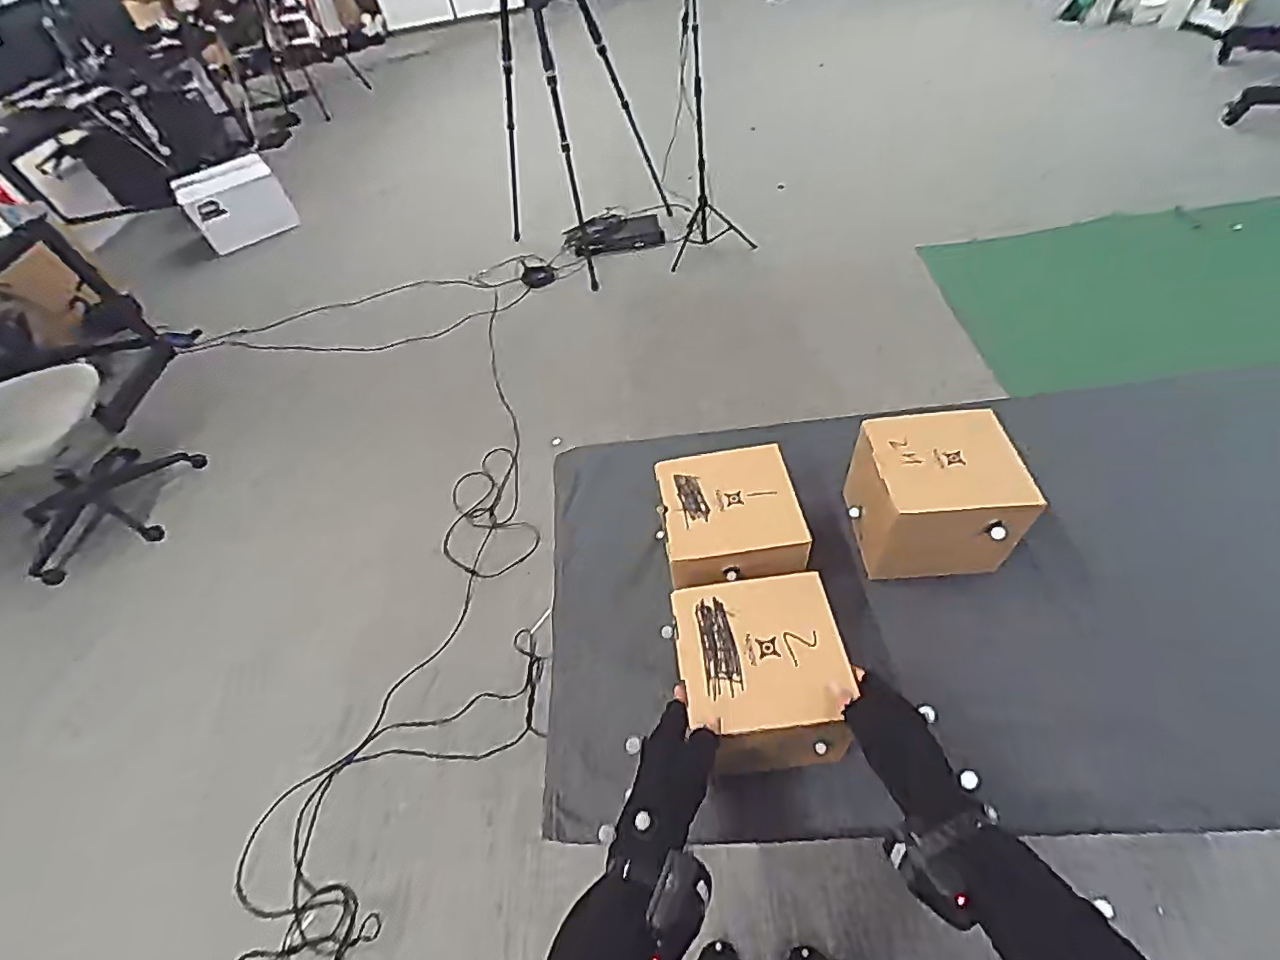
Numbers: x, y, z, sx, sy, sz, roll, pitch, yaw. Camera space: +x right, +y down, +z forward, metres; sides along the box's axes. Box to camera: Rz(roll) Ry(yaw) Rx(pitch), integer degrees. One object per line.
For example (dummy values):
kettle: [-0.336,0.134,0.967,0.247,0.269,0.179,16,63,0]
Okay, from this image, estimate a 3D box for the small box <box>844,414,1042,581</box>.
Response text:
small box: [0.404,0.029,0.760,0.179,0.176,0.168,-4,51,6]
